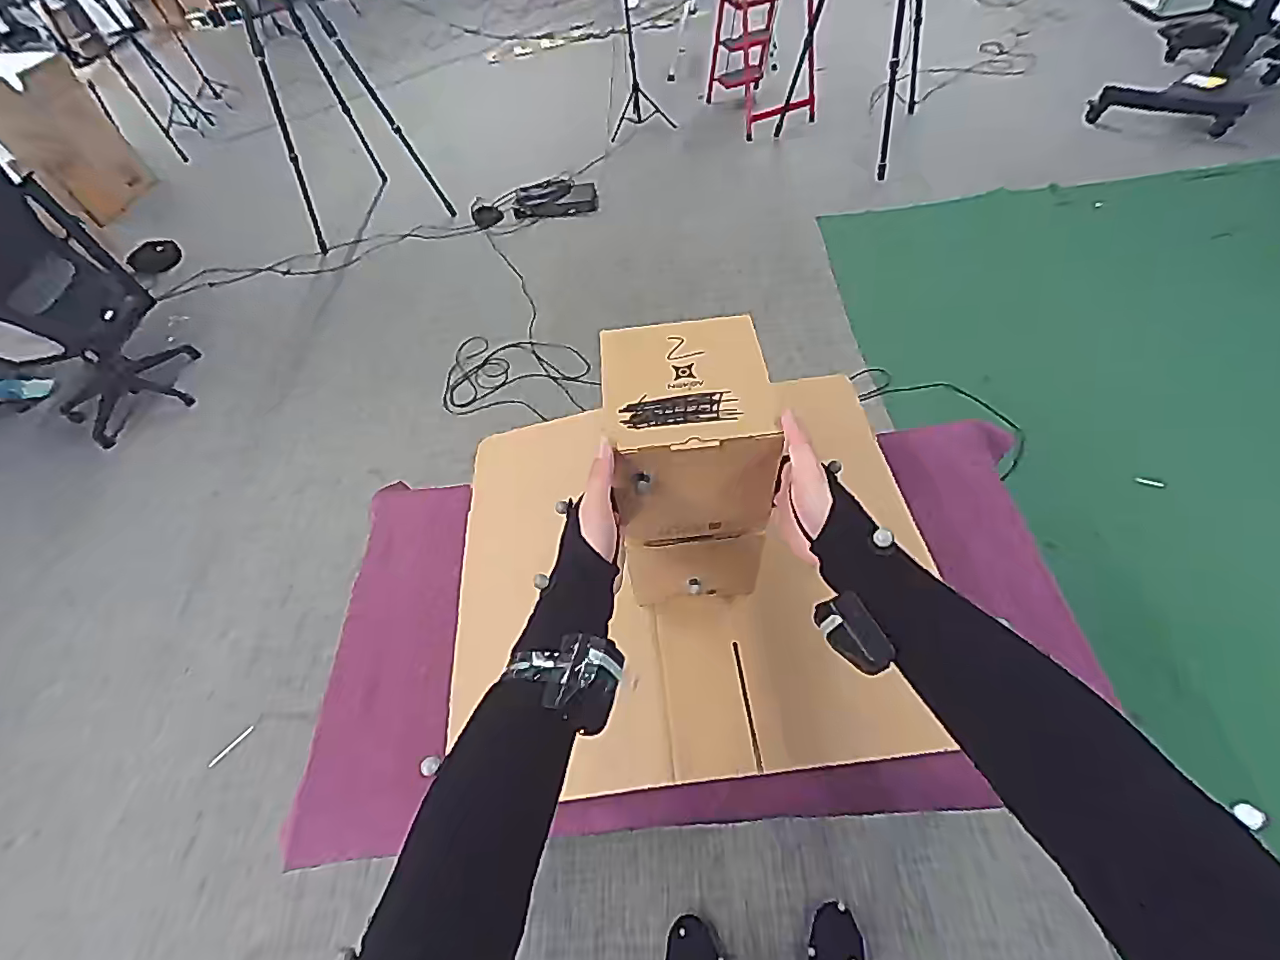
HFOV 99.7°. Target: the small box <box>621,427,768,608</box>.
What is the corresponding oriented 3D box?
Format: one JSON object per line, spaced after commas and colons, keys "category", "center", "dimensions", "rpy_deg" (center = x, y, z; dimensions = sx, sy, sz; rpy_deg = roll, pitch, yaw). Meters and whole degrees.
{"category": "small box", "center": [0.065, 0.053, 0.727], "dimensions": [0.168, 0.176, 0.179], "rpy_deg": [-6, 54, 1]}
